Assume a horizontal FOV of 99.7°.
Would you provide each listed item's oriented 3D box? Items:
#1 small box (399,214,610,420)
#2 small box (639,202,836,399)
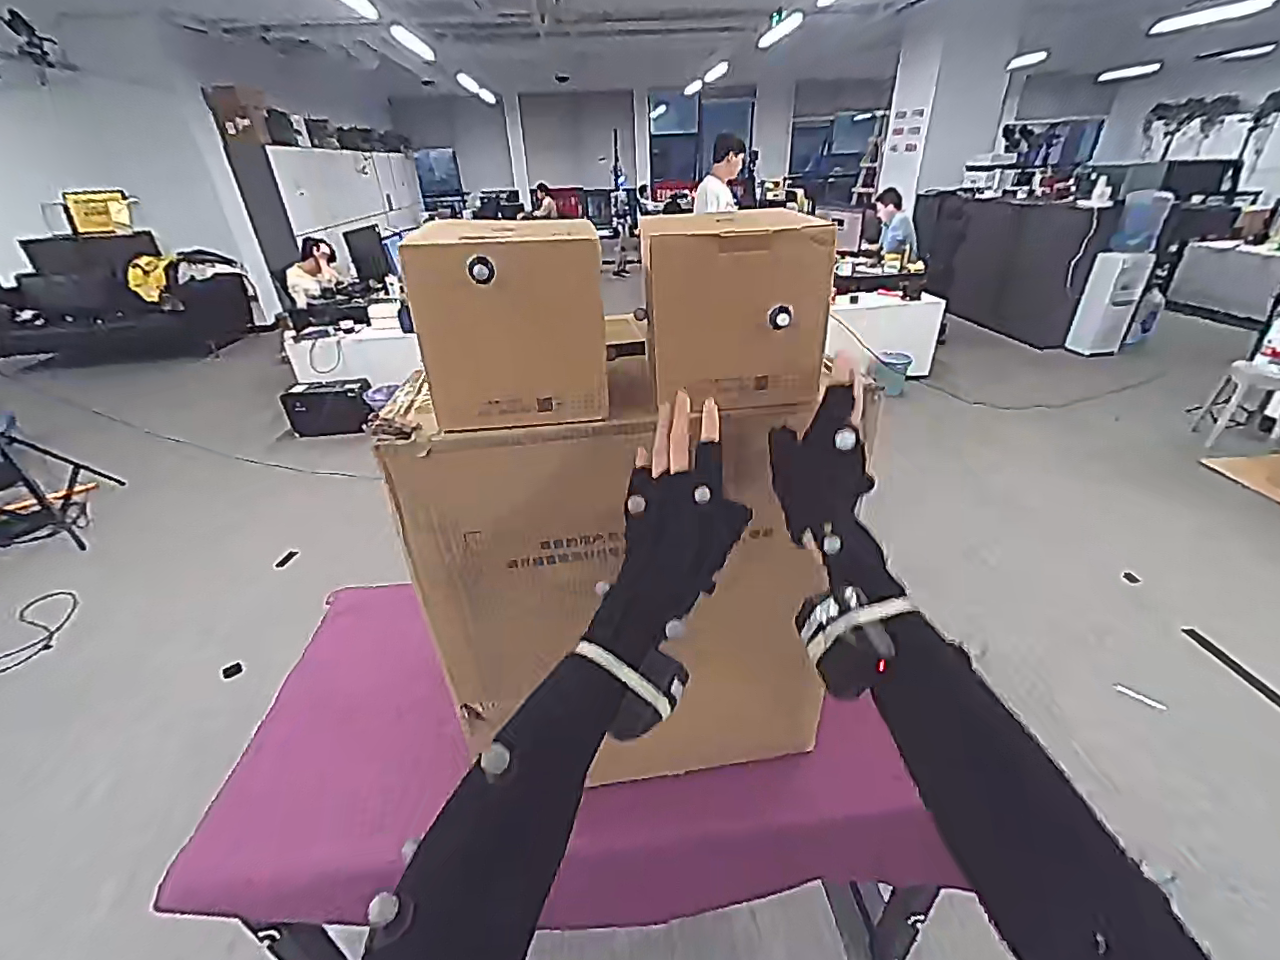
[{"bbox_3d":[-0.121,-0.171,0.550,0.168,0.176,0.179,-5,29,-6],"label":"small box"},{"bbox_3d":[0.089,-0.190,0.571,0.168,0.176,0.179,-4,29,-2],"label":"small box"}]
